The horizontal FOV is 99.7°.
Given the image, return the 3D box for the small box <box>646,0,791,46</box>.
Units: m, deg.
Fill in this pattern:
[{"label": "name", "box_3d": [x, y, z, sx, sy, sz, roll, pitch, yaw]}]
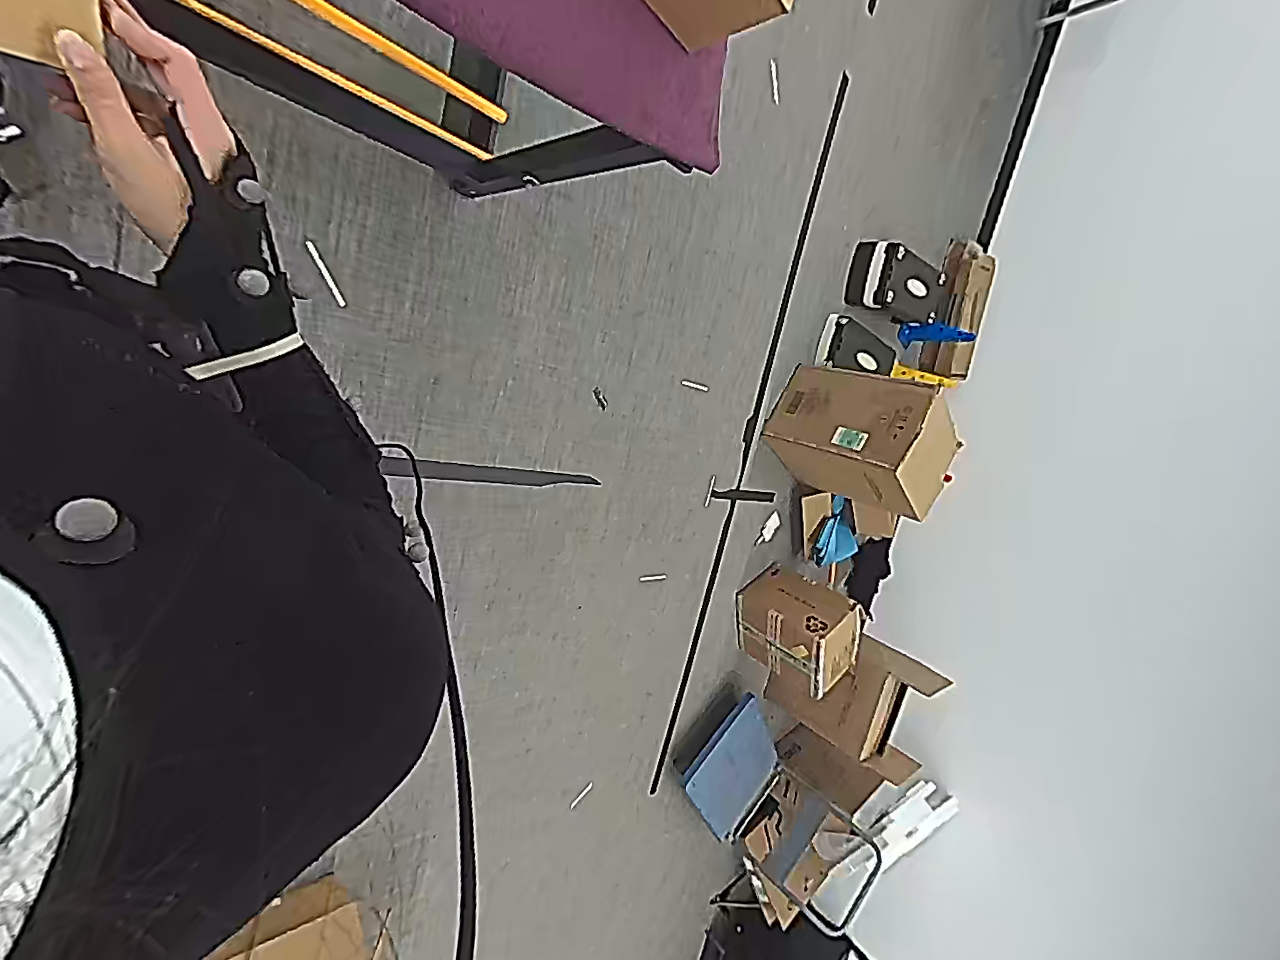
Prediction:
[{"label": "small box", "box_3d": [0.086, -0.669, 0.641, 0.179, 0.176, 0.168, 12, 96, -47]}]
